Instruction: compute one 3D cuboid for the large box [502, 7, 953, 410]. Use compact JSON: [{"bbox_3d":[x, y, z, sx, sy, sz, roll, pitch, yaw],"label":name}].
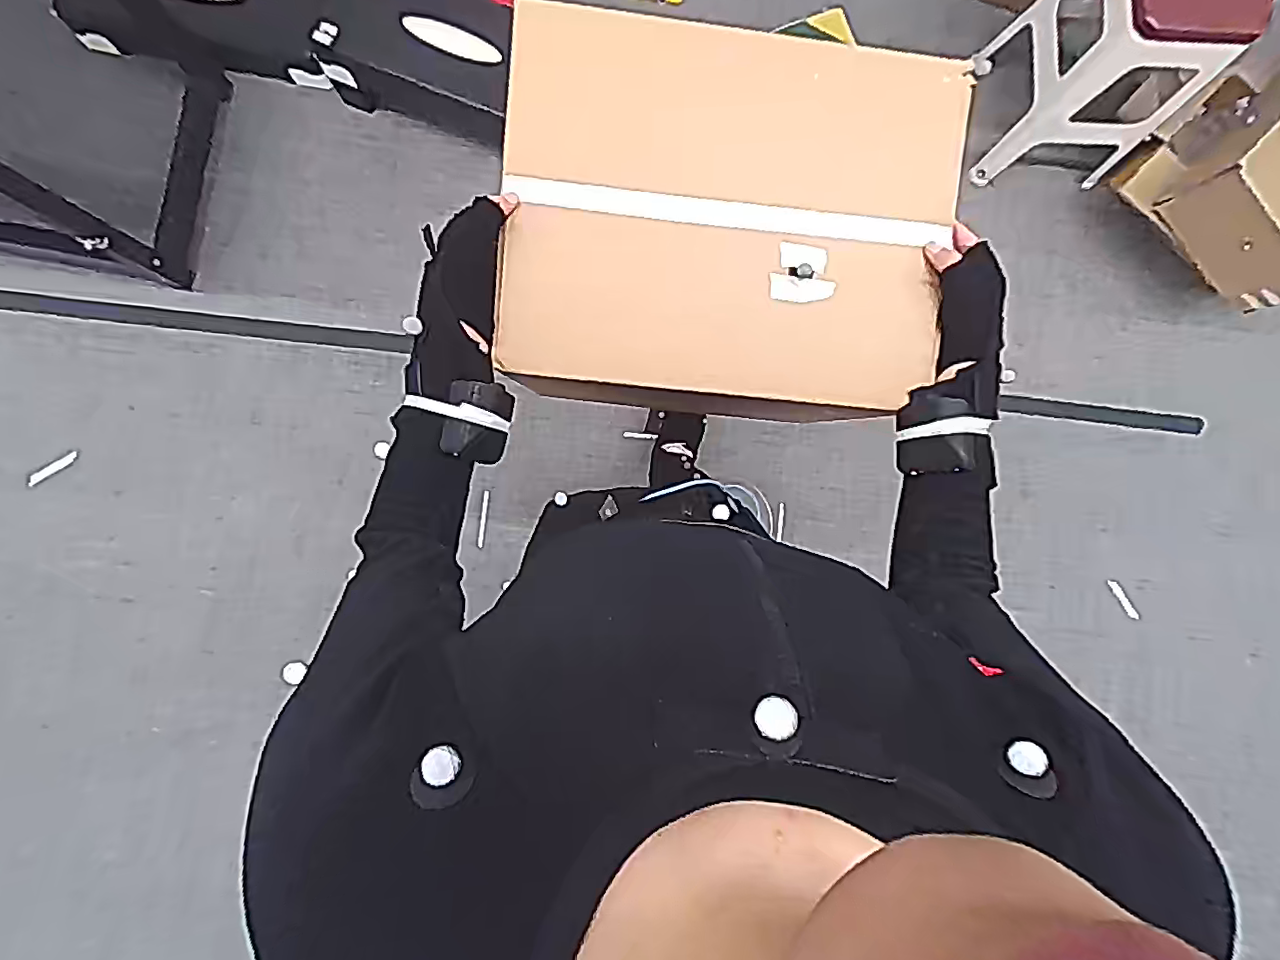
[{"bbox_3d":[0.070,-0.259,0.643,0.408,0.320,0.320,5,95,-5],"label":"large box"}]
